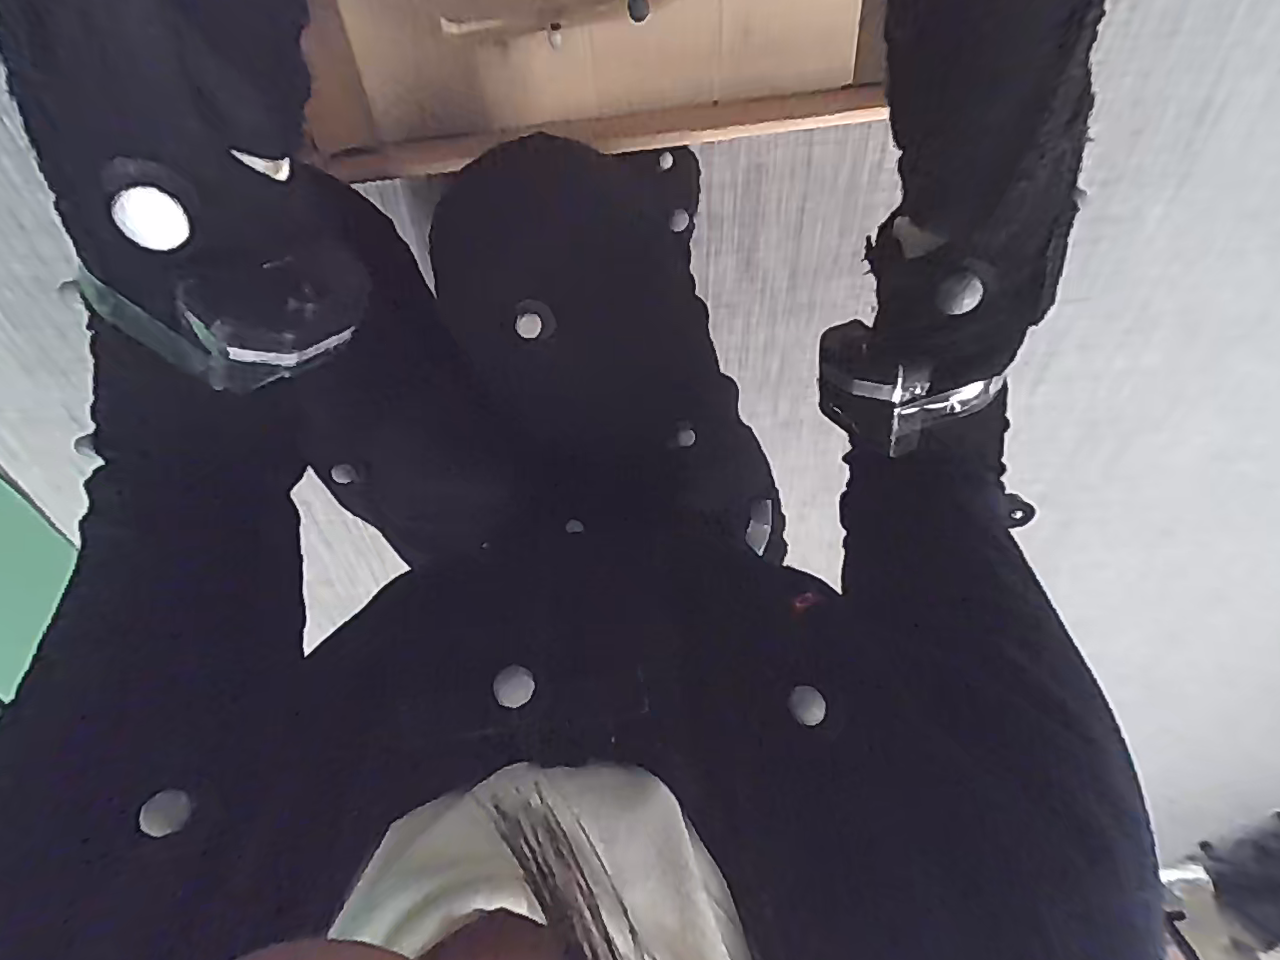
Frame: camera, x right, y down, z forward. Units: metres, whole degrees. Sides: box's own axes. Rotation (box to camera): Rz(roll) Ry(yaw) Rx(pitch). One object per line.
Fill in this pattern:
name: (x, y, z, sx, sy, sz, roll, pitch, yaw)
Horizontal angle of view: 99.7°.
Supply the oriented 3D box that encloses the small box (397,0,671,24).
small box: (-0.051, -0.345, 0.263, 0.168, 0.176, 0.179, -10, 126, -4)
